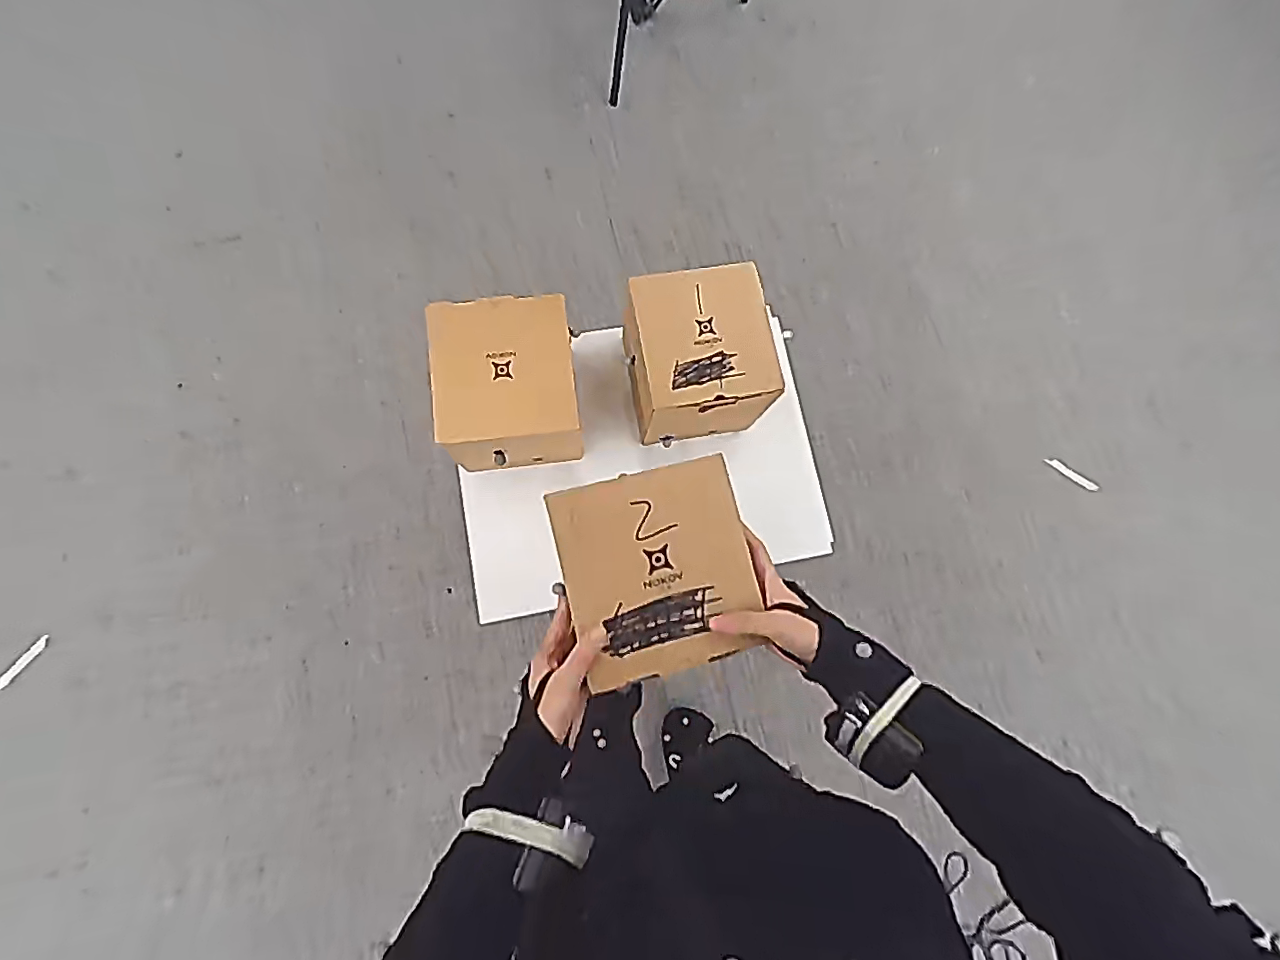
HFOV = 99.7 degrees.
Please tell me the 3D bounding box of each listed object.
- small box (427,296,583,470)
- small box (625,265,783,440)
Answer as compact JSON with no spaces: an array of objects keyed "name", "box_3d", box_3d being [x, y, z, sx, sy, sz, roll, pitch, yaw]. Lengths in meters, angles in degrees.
[{"name":"small box","box_3d":[-0.166,-0.114,0.708,0.168,0.176,0.179,-7,80,-6]},{"name":"small box","box_3d":[0.074,-0.160,0.735,0.168,0.176,0.179,-9,80,-6]}]
